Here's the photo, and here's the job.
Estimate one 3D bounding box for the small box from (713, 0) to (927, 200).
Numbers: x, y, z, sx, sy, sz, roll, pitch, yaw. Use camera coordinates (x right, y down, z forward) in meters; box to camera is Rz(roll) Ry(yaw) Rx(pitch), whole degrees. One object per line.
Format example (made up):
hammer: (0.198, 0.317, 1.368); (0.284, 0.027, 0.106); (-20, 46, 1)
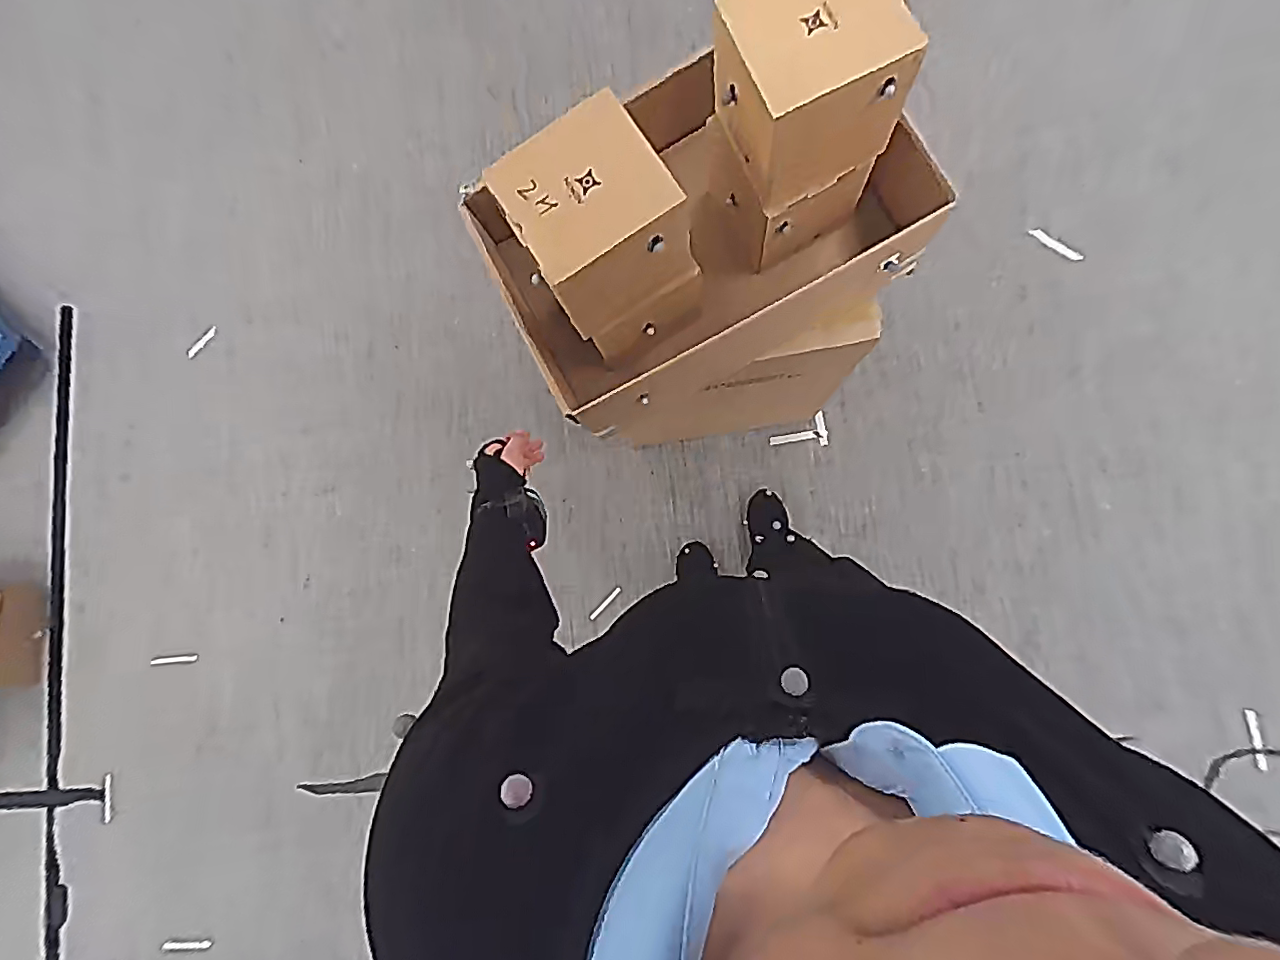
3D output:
small box: (0.201, -0.483, 0.655); (0.179, 0.176, 0.168); (-24, 82, 5)

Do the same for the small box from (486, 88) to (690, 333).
small box: (-0.053, -0.316, 0.671); (0.179, 0.176, 0.168); (-32, 82, 3)
